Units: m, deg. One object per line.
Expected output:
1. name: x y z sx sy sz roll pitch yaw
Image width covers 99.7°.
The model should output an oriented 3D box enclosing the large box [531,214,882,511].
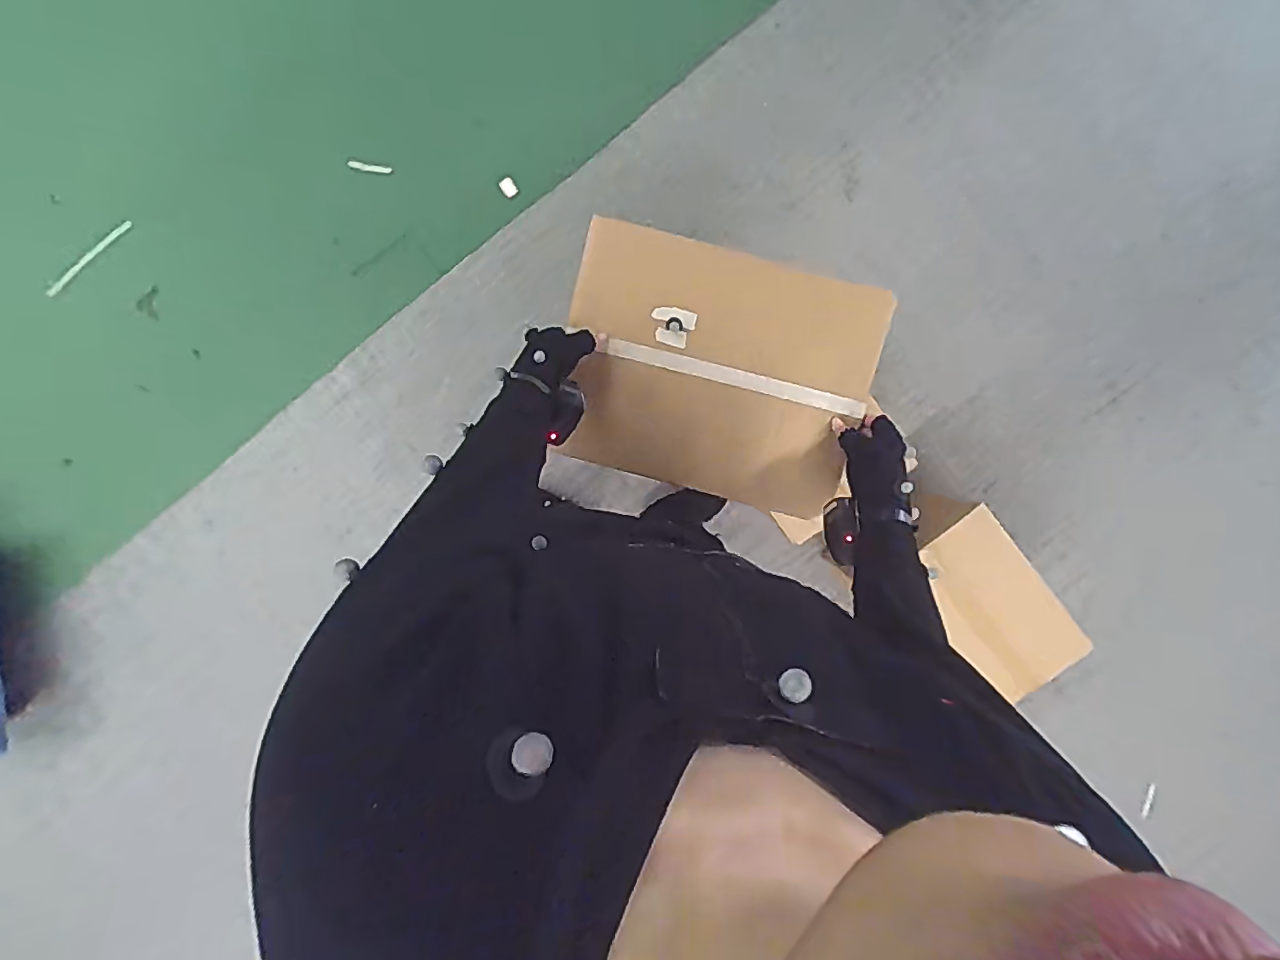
1. large box: 0.090 -0.171 0.850 0.408 0.320 0.320 15 99 2
